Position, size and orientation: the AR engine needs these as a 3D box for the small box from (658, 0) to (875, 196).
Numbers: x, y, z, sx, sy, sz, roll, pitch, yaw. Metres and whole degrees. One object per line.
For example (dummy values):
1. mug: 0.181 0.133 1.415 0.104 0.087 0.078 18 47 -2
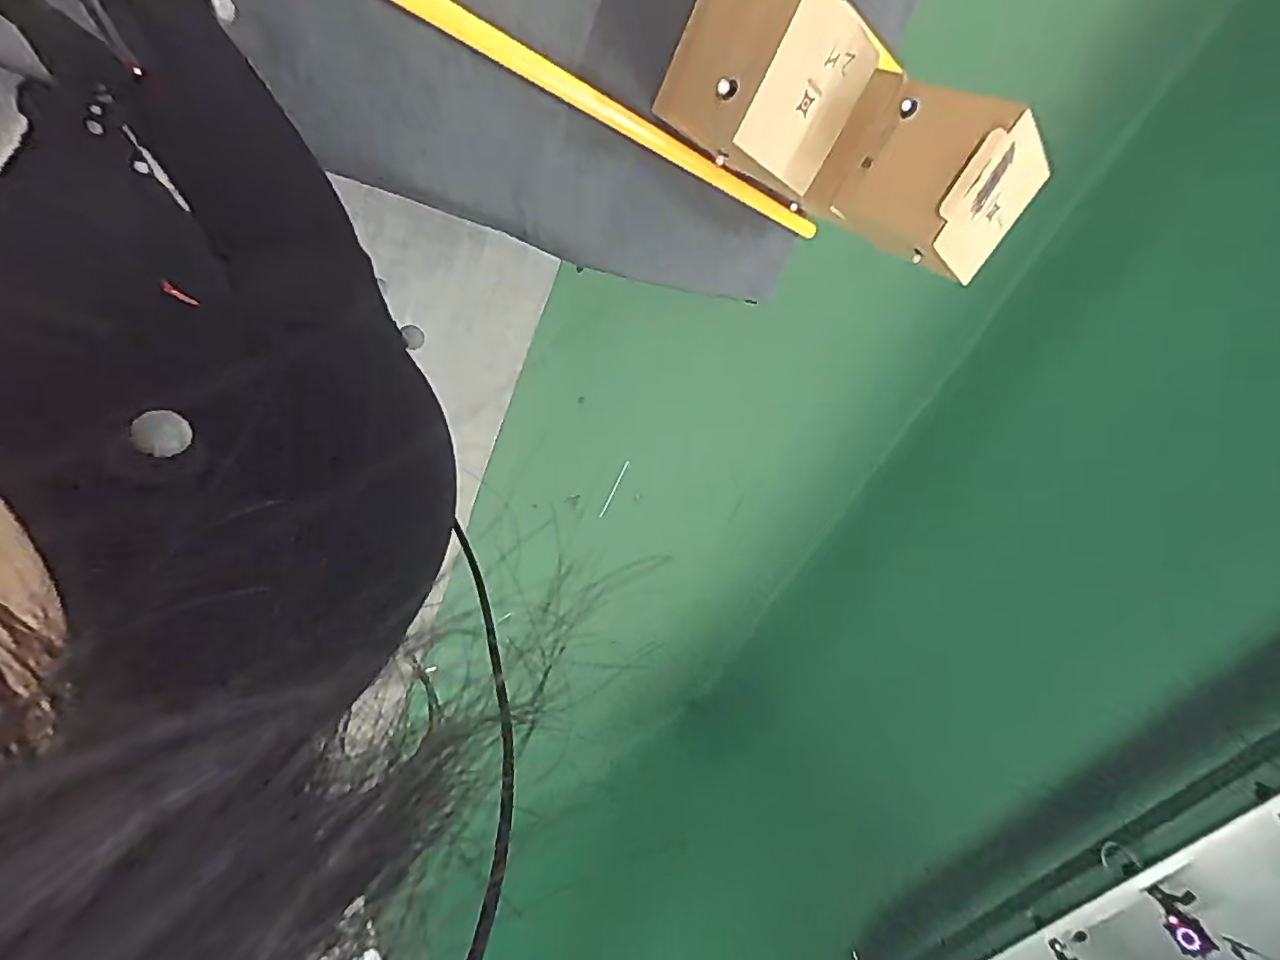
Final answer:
1. small box: 0.148 -0.502 0.683 0.168 0.176 0.179 1 126 -45

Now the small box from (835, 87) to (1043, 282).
1. small box: 0.406 -0.406 0.748 0.179 0.176 0.168 3 125 -47
